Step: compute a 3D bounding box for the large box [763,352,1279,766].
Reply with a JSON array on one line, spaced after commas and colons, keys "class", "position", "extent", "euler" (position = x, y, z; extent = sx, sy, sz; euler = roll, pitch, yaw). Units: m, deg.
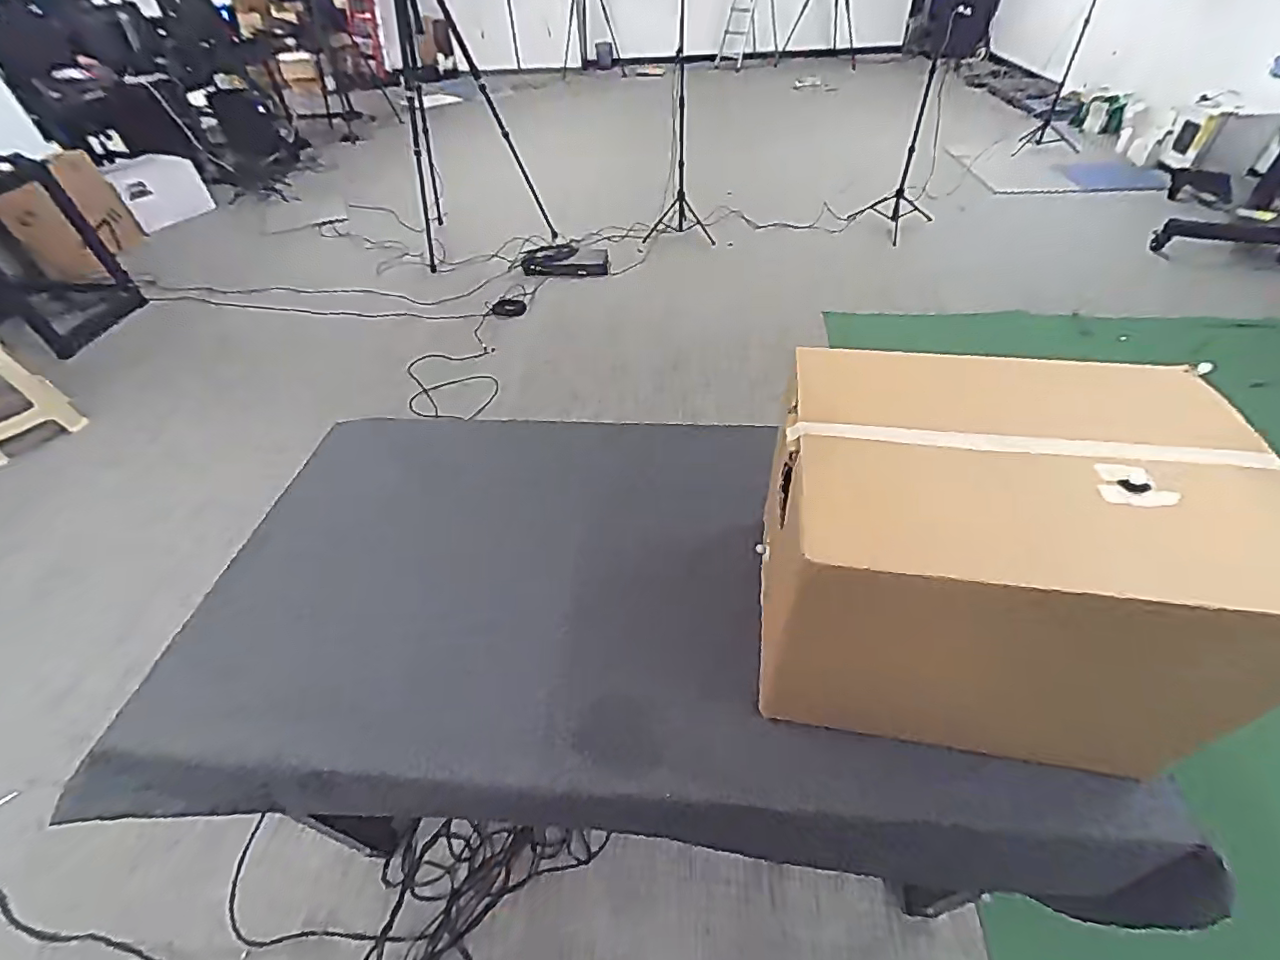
[{"class": "large box", "position": [0.359, 0.079, 0.603], "extent": [0.408, 0.320, 0.320], "euler": [6, 46, 8]}]
